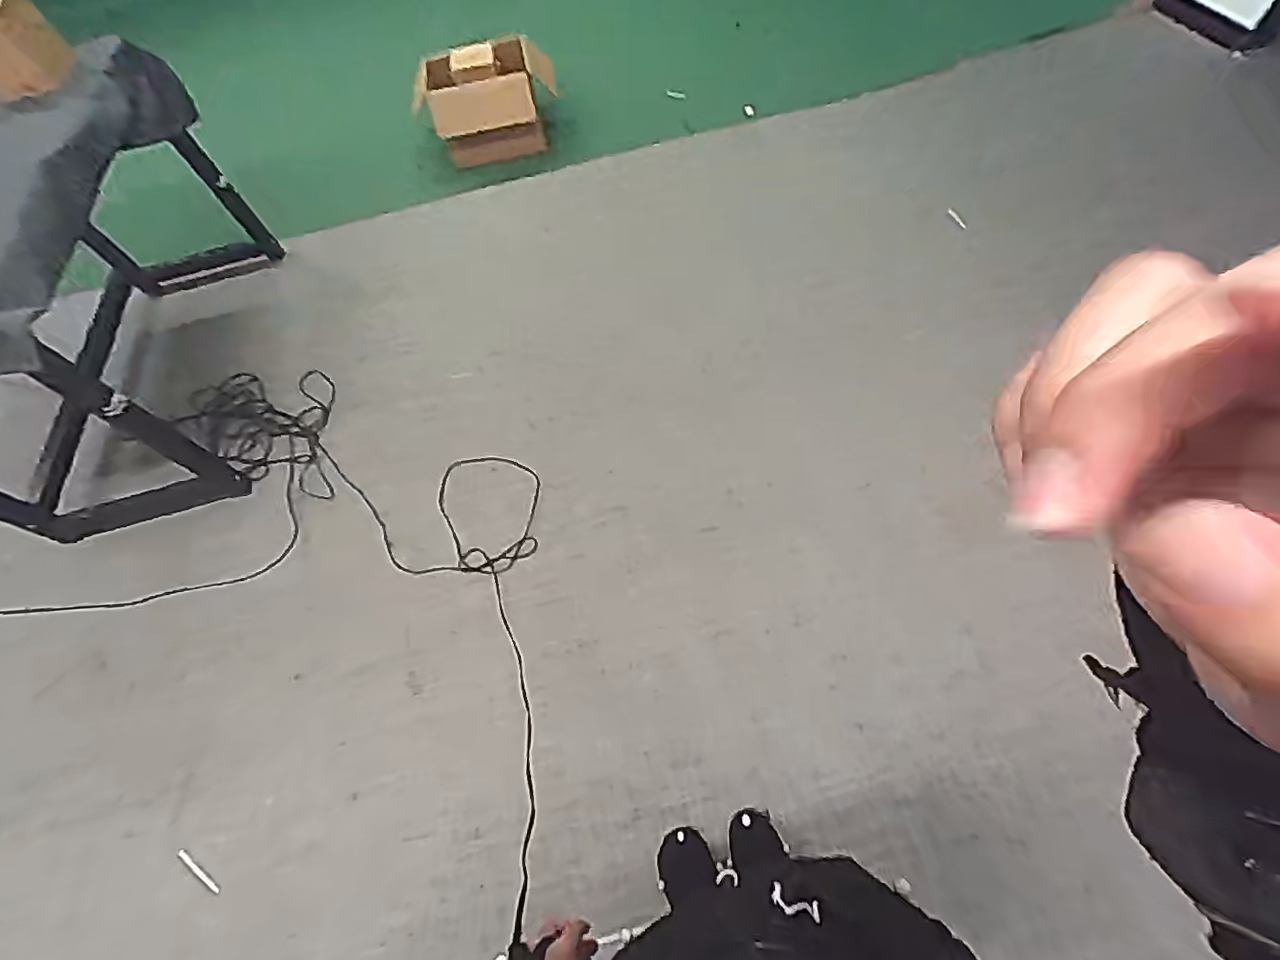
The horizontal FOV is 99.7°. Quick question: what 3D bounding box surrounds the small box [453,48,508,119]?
[{"bbox_3d":[-0.642,-1.600,2.185,0.168,0.176,0.179,-11,60,0],"label":"small box"}]
